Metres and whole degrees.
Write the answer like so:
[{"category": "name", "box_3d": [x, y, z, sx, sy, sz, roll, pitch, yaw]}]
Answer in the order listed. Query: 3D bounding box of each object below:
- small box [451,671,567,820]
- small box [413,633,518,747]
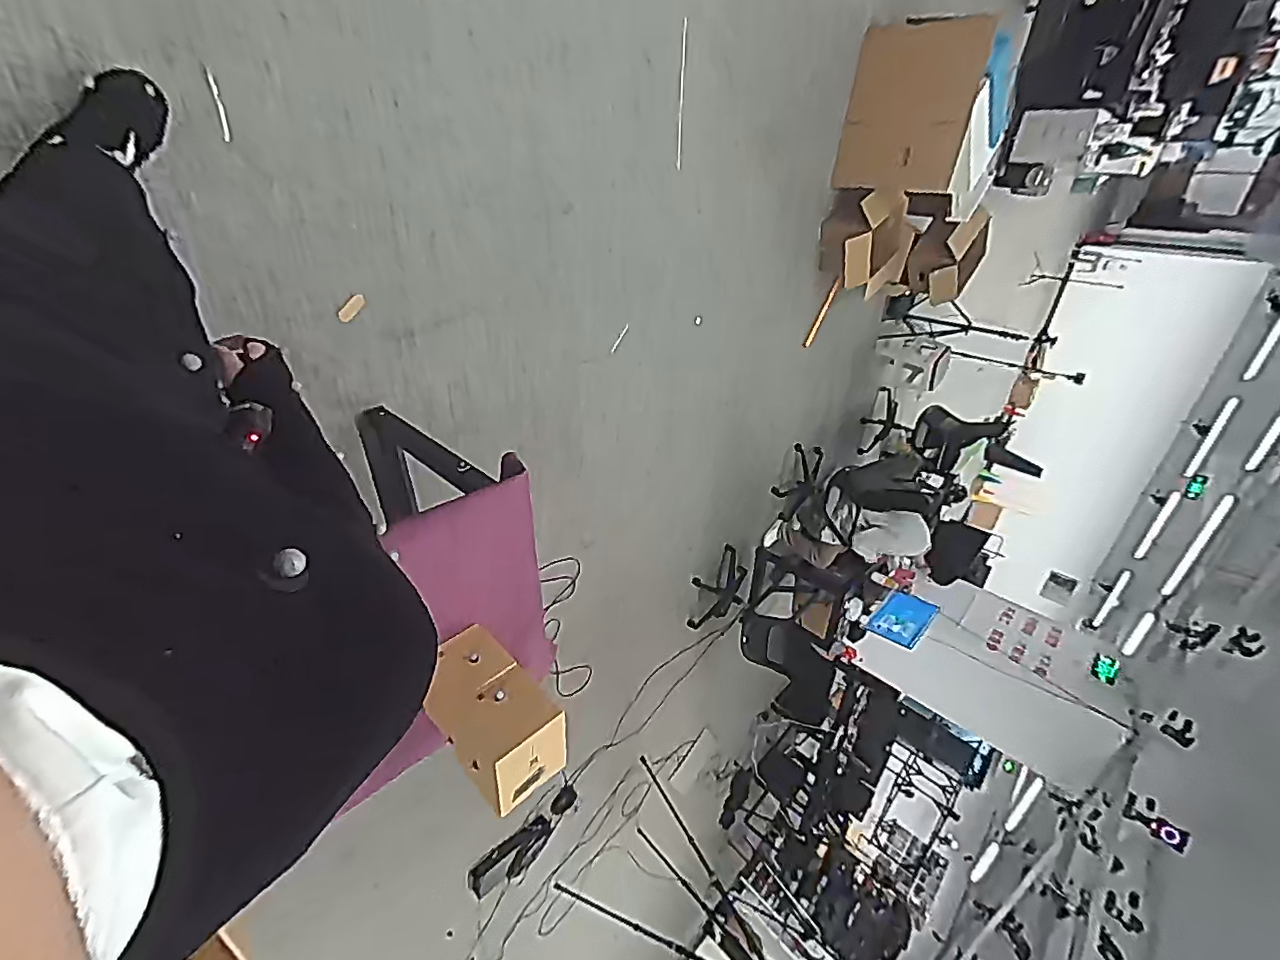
[{"category": "small box", "box_3d": [-0.267, 0.534, 1.109, 0.168, 0.176, 0.179, -25, 128, -41]}, {"category": "small box", "box_3d": [-0.381, 0.470, 1.209, 0.168, 0.176, 0.179, -29, 132, -38]}]
